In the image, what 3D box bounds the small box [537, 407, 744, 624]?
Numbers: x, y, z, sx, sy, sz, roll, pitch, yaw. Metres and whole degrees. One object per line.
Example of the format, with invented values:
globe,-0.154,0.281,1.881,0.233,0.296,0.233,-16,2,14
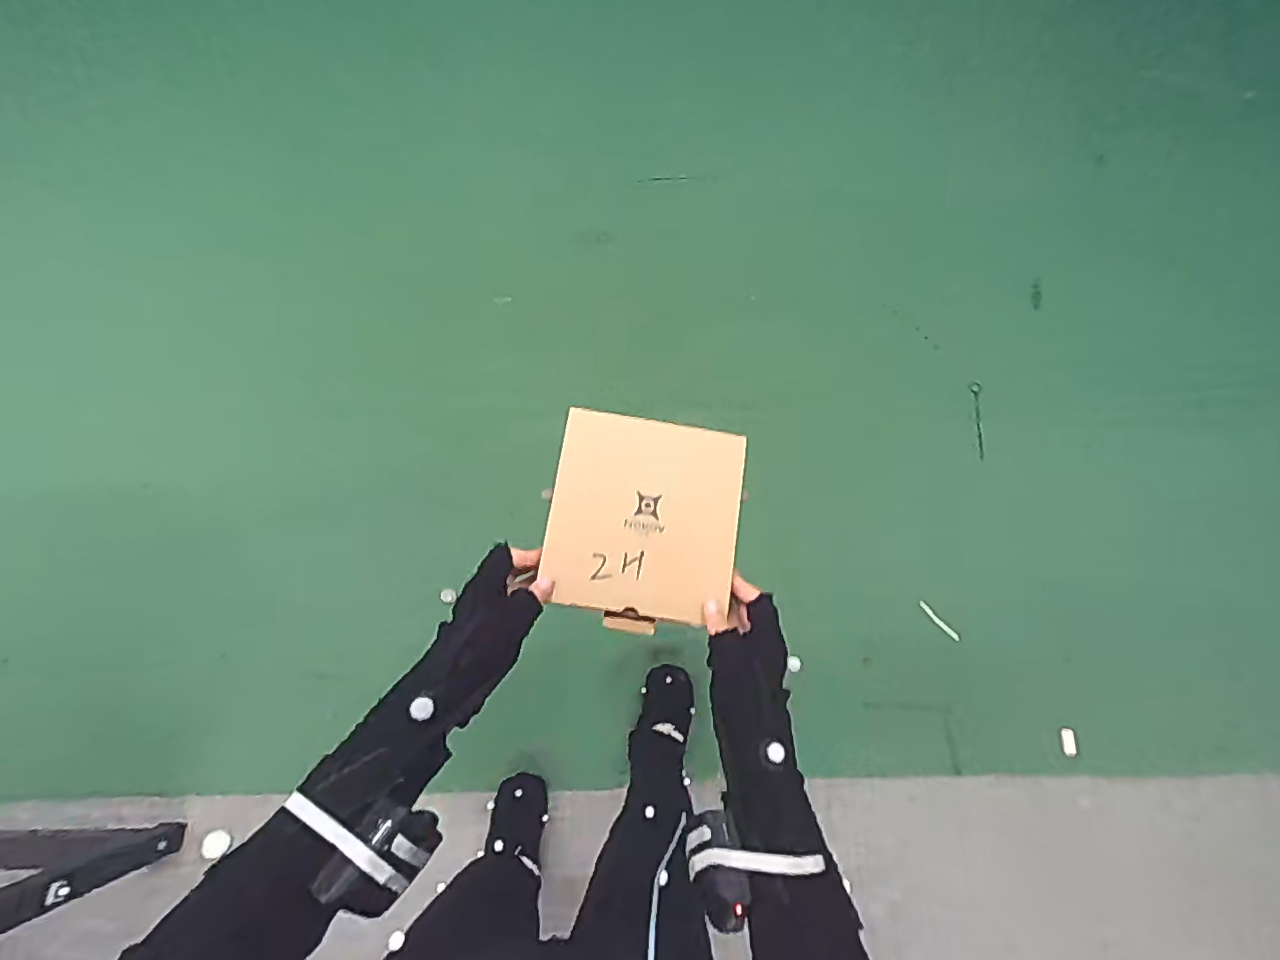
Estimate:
small box,-0.001,0.046,0.557,0.168,0.176,0.179,9,77,-1
